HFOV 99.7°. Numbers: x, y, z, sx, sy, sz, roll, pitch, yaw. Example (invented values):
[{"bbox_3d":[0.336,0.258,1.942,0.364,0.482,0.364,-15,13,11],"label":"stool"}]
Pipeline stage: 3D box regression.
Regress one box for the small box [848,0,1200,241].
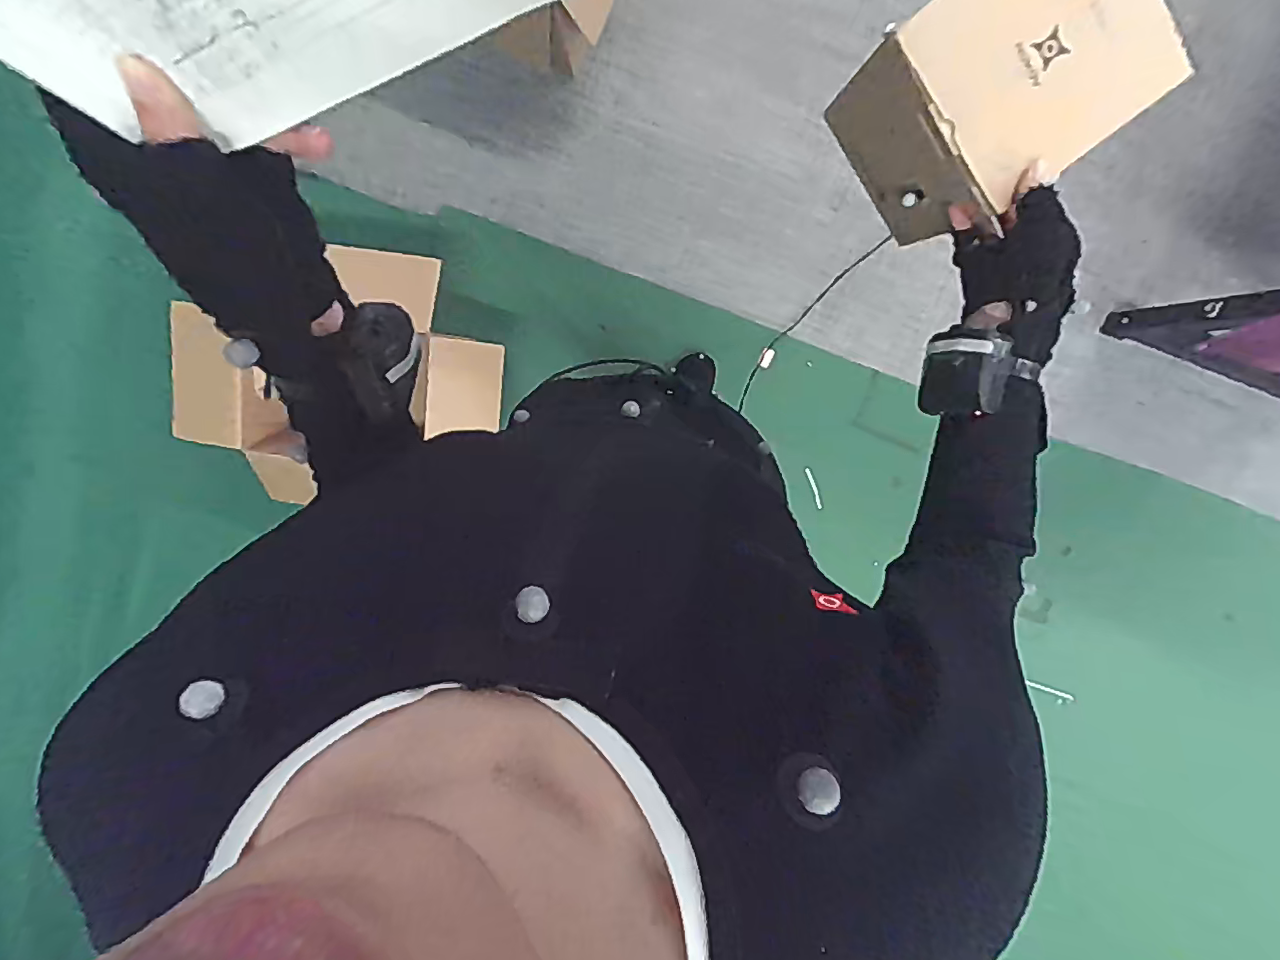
[{"bbox_3d":[0.315,-0.345,0.489,0.179,0.176,0.168,-35,103,9],"label":"small box"}]
